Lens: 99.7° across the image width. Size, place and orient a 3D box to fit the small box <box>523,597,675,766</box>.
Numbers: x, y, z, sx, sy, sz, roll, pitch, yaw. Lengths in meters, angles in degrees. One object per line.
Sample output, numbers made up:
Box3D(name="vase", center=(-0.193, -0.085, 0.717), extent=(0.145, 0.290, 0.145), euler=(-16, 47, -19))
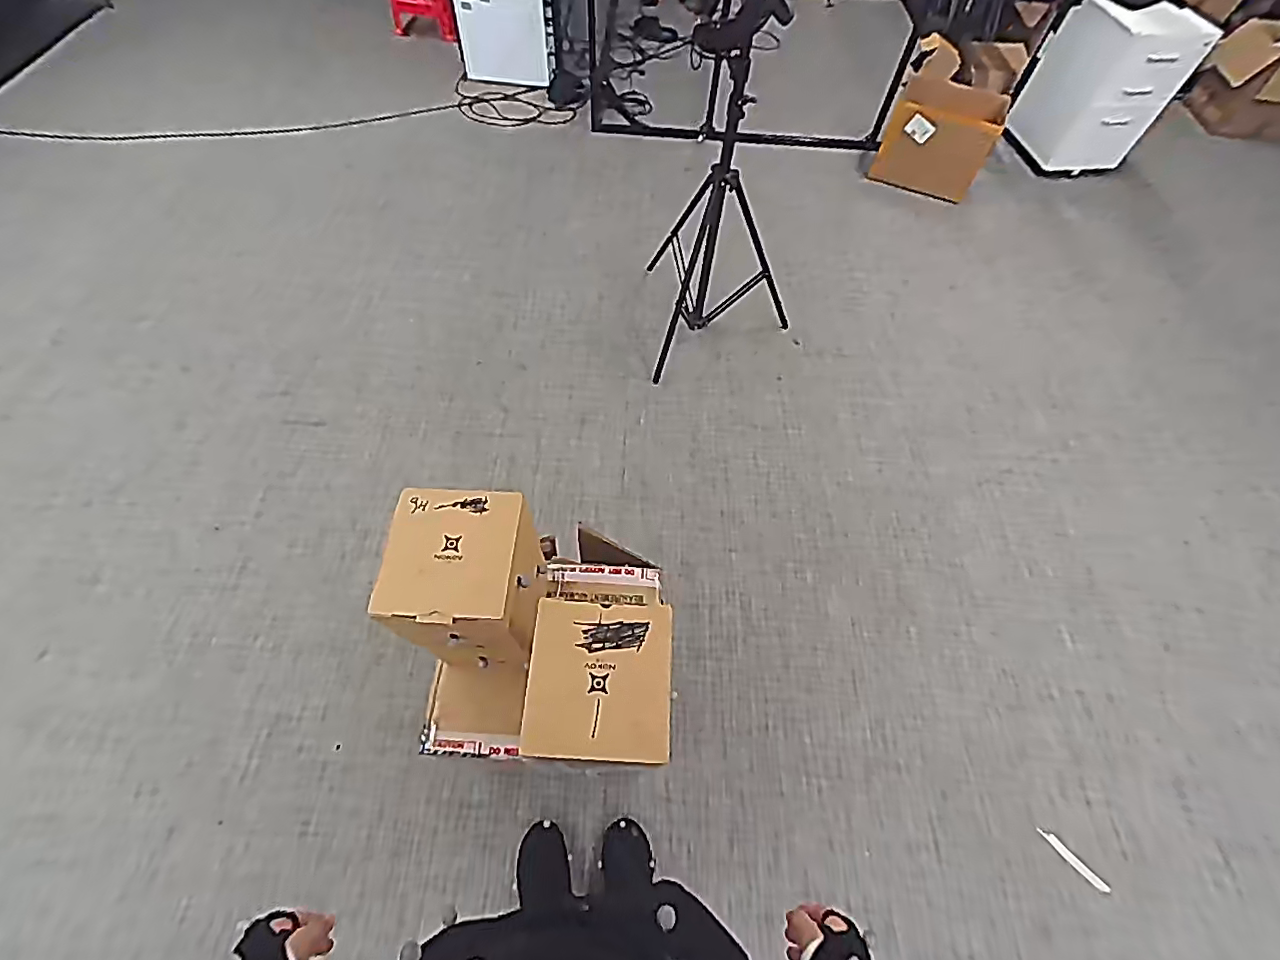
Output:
Box3D(name="small box", center=(-0.046, 0.264, 0.697), extent=(0.168, 0.176, 0.179), euler=(3, 62, 0))

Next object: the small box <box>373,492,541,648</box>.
Box3D(name="small box", center=(-0.240, 0.133, 0.760), extent=(0.168, 0.176, 0.179), euler=(2, 62, 0))

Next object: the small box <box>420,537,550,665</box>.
Box3D(name="small box", center=(-0.248, 0.204, 0.909), extent=(0.168, 0.176, 0.179), euler=(0, 61, 0))
